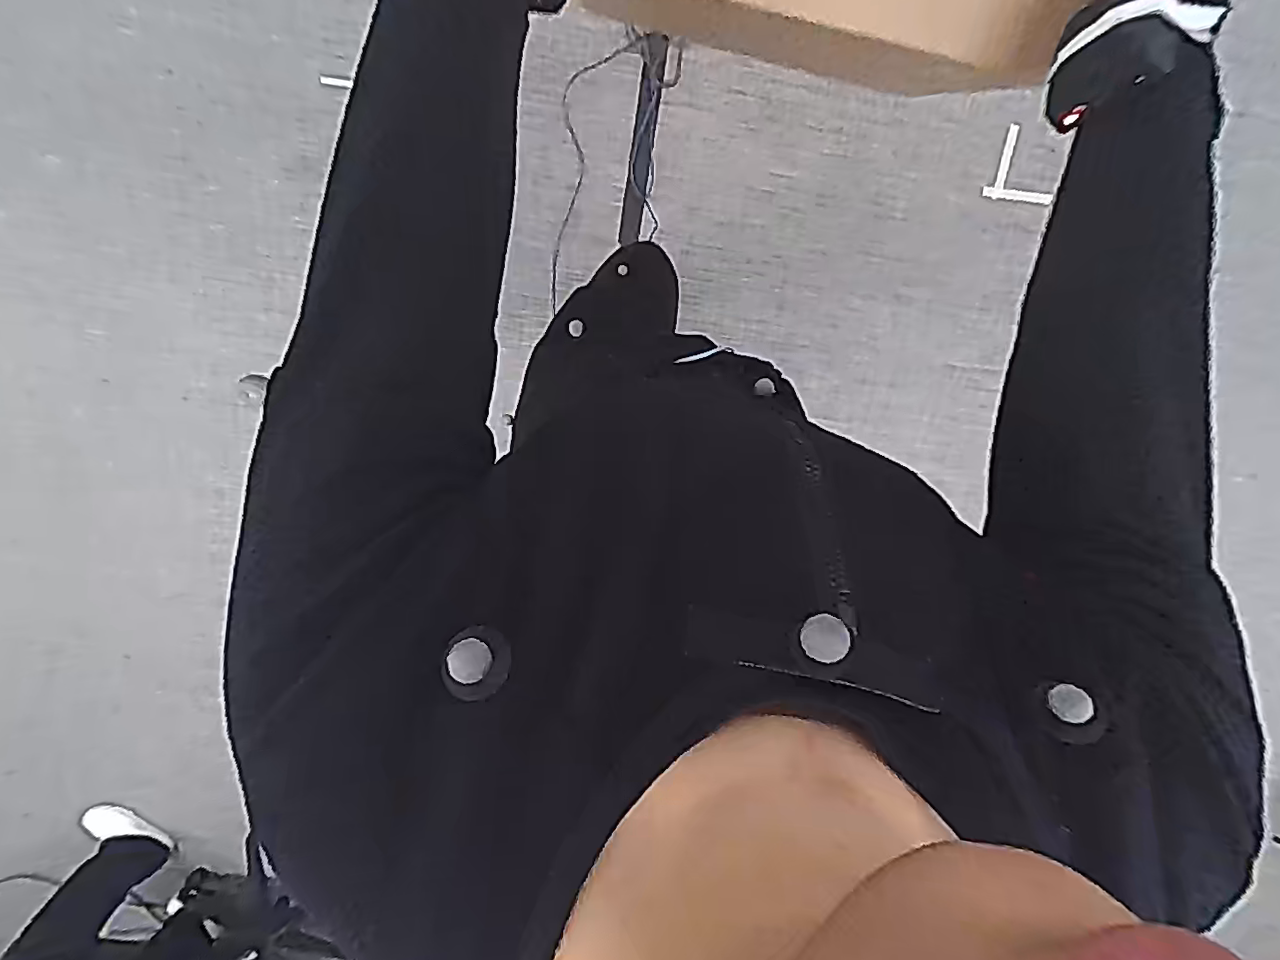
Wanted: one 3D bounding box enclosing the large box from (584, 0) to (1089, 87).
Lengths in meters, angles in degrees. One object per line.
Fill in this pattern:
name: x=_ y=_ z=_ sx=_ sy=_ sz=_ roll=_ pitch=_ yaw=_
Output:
large box: x=0.156 y=-0.553 z=0.442 sx=0.408 sy=0.320 sz=0.320 roll=10 pitch=125 yaw=-5
